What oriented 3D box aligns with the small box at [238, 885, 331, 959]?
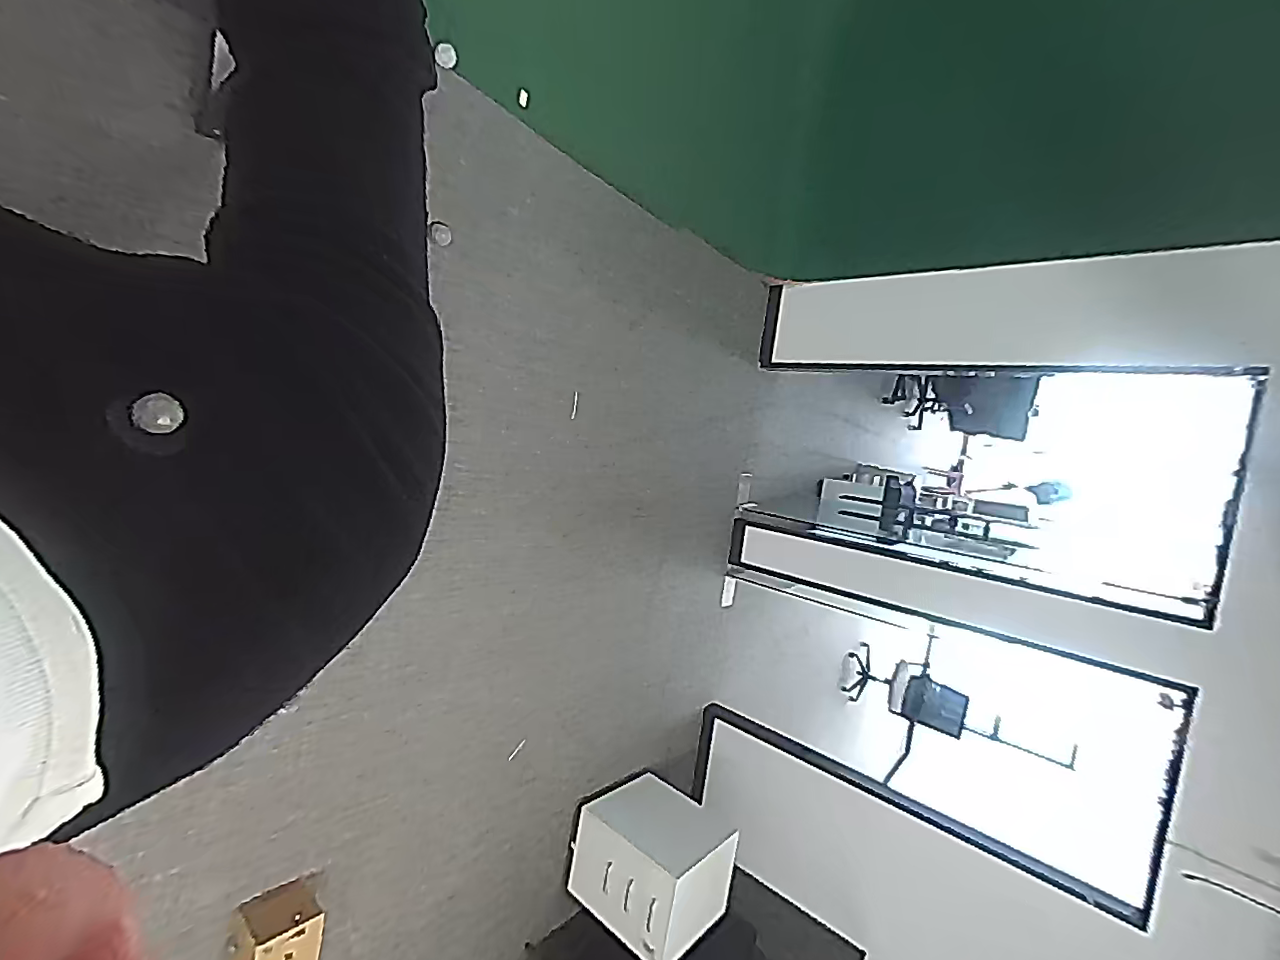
[{"bbox_3d":[-0.981,1.281,1.487,0.168,0.176,0.179,7,93,-51],"label":"small box"}]
